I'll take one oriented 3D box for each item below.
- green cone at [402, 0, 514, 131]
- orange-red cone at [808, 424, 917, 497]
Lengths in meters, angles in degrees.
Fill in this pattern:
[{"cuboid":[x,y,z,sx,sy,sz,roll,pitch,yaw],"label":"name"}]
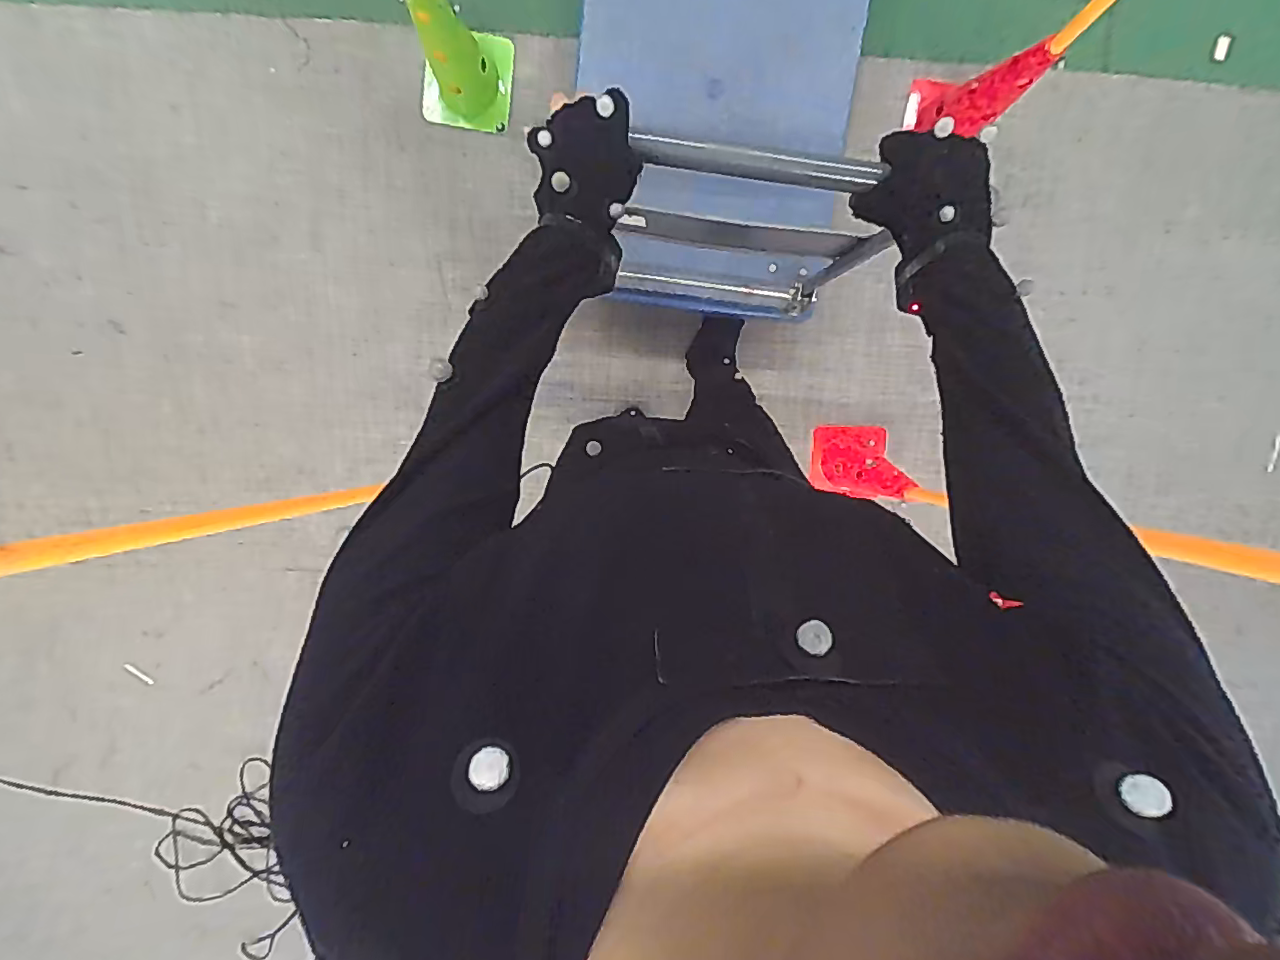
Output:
[{"cuboid":[-0.398,-0.902,1.095,0.202,0.368,0.200,8,101,-2],"label":"green cone"},{"cuboid":[0.560,-0.019,1.303,0.199,0.360,0.198,3,101,0],"label":"orange-red cone"}]
